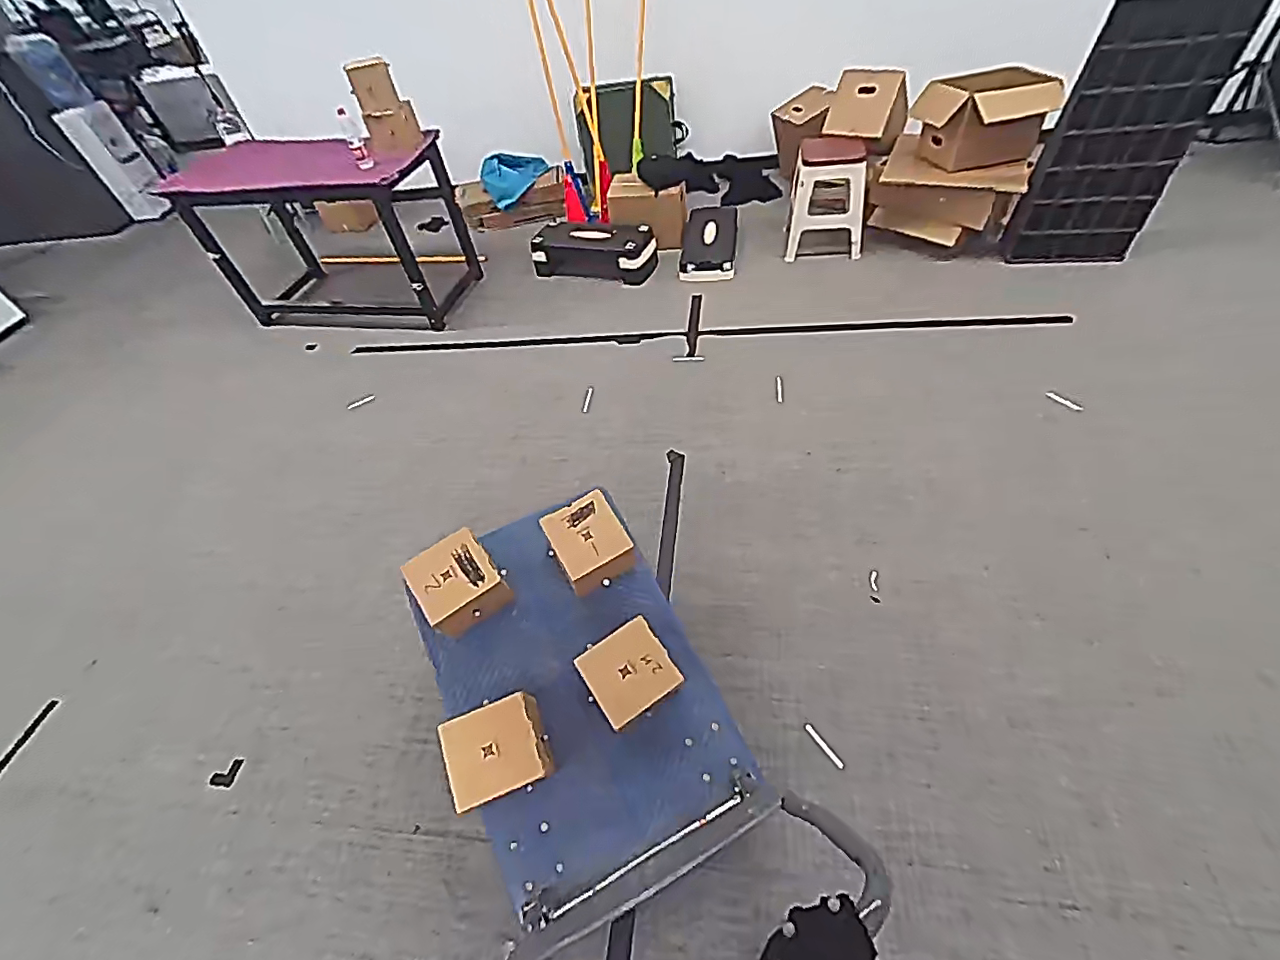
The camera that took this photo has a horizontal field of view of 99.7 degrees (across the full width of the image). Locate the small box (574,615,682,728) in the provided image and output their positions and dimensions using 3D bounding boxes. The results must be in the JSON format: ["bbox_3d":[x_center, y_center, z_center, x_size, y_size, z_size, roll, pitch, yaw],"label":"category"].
[{"bbox_3d":[-0.025,0.431,1.202,0.179,0.176,0.168,-32,68,-15],"label":"small box"}]

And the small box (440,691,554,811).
[{"bbox_3d":[-0.293,0.567,1.135,0.179,0.176,0.168,-20,65,-12],"label":"small box"}]

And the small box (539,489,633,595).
[{"bbox_3d":[-0.130,0.159,1.335,0.168,0.176,0.179,-29,68,-13],"label":"small box"}]
